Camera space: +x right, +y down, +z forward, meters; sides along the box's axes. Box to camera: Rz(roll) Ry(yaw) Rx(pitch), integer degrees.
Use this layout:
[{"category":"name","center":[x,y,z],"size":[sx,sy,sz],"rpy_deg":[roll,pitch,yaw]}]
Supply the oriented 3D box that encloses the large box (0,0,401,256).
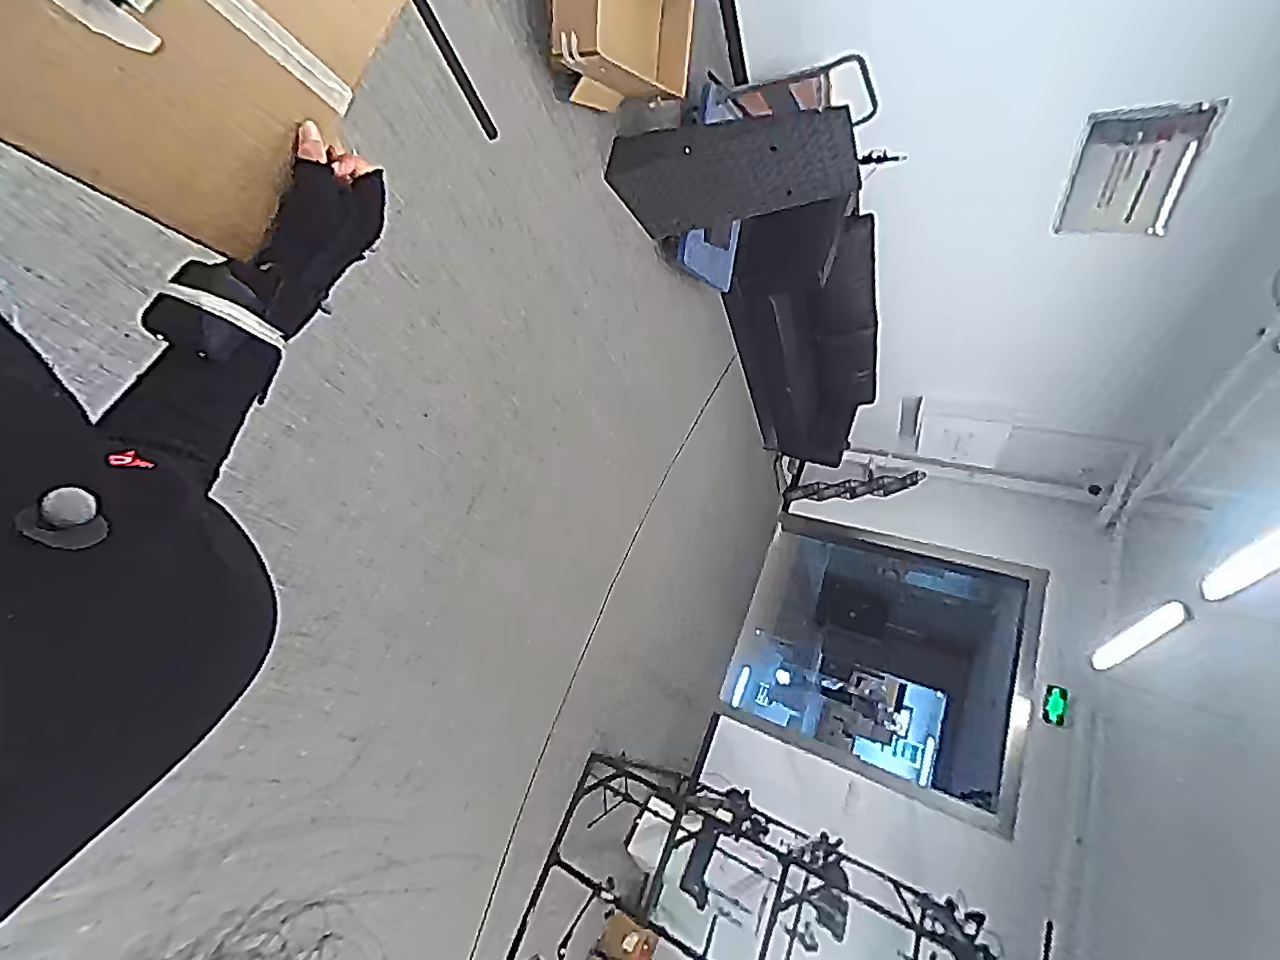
[{"category":"large box","center":[-0.448,-0.430,0.362],"size":[0.320,0.320,0.408],"rpy_deg":[-58,148,3]}]
